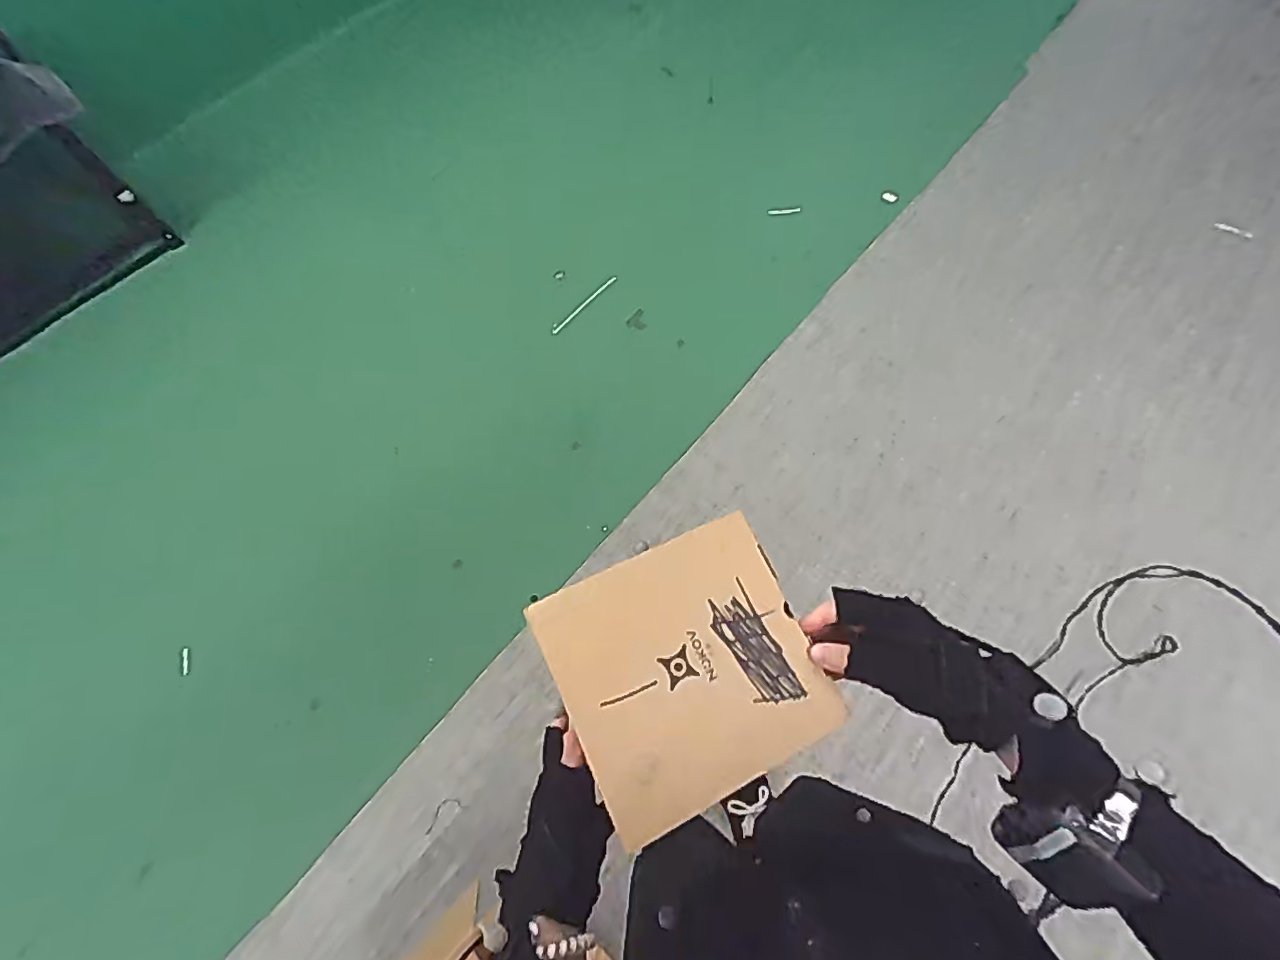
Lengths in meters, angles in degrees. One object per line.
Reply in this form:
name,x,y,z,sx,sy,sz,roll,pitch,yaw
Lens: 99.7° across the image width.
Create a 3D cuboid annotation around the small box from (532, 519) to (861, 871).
small box,0.027,0.153,0.431,0.179,0.176,0.168,-23,76,-14
